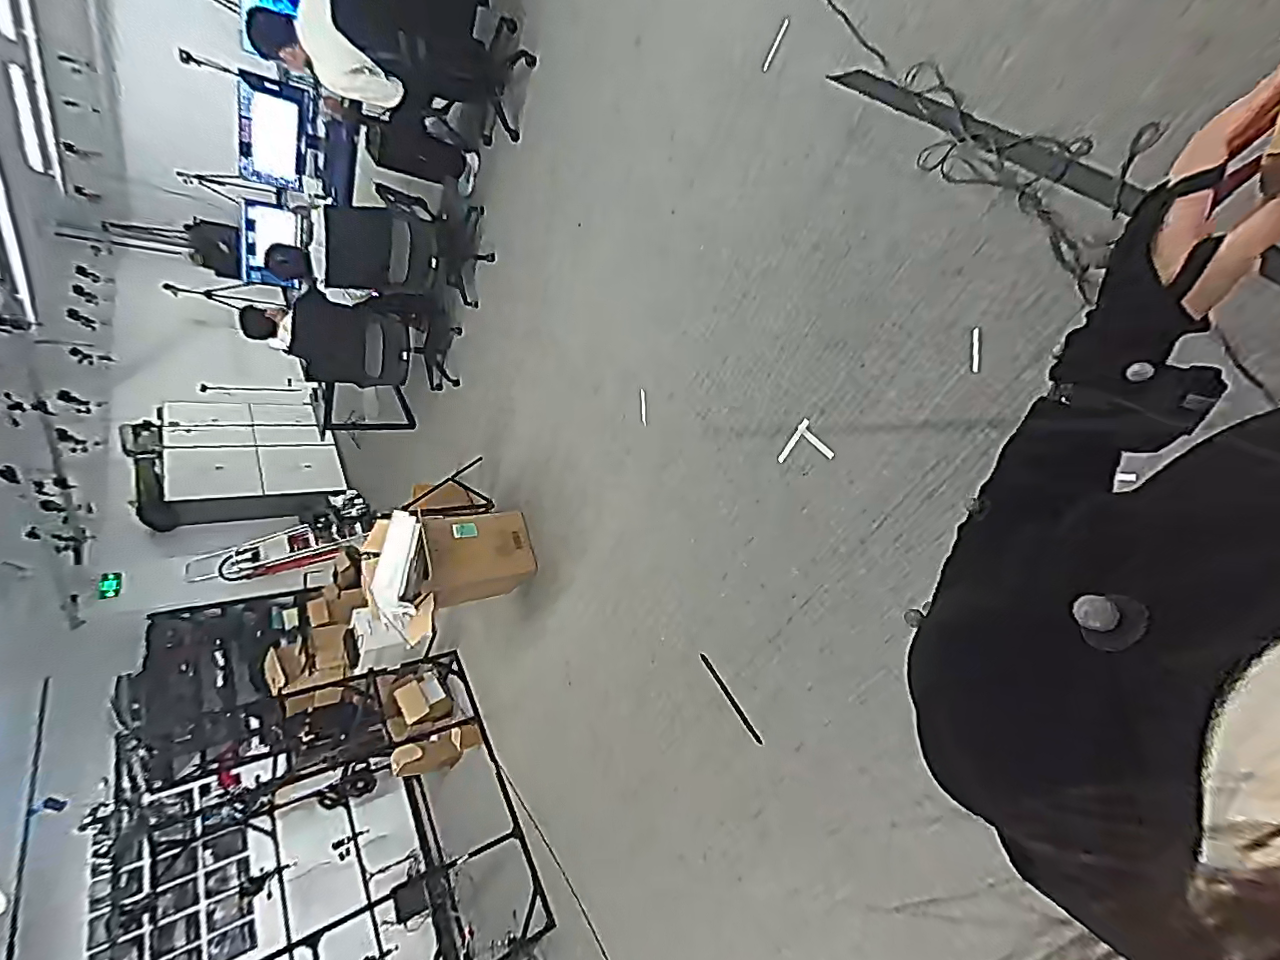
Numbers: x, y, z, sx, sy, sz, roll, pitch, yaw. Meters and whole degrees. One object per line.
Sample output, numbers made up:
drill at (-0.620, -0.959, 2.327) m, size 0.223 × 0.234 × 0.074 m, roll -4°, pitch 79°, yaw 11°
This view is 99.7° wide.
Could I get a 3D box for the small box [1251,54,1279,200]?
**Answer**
small box at (0.436, -0.237, 0.247) m, size 0.179 × 0.176 × 0.168 m, roll 21°, pitch 115°, yaw 44°
